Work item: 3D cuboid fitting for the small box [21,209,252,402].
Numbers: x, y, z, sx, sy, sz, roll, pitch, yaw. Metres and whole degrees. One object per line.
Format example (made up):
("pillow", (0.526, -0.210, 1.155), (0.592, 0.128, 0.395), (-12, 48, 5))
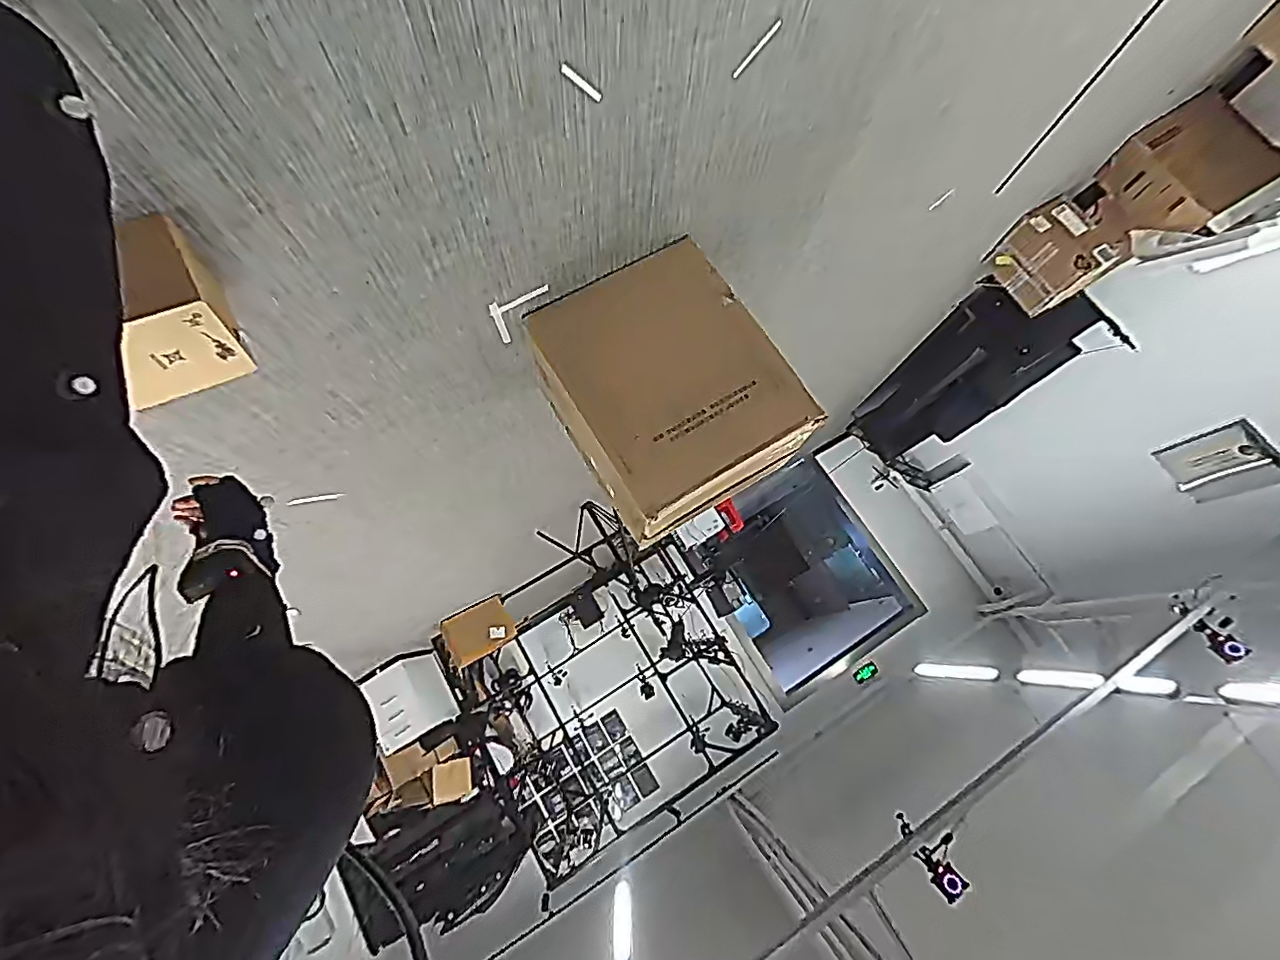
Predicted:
("small box", (-0.701, -0.245, 0.762), (0.179, 0.176, 0.168), (-26, 166, -21))
